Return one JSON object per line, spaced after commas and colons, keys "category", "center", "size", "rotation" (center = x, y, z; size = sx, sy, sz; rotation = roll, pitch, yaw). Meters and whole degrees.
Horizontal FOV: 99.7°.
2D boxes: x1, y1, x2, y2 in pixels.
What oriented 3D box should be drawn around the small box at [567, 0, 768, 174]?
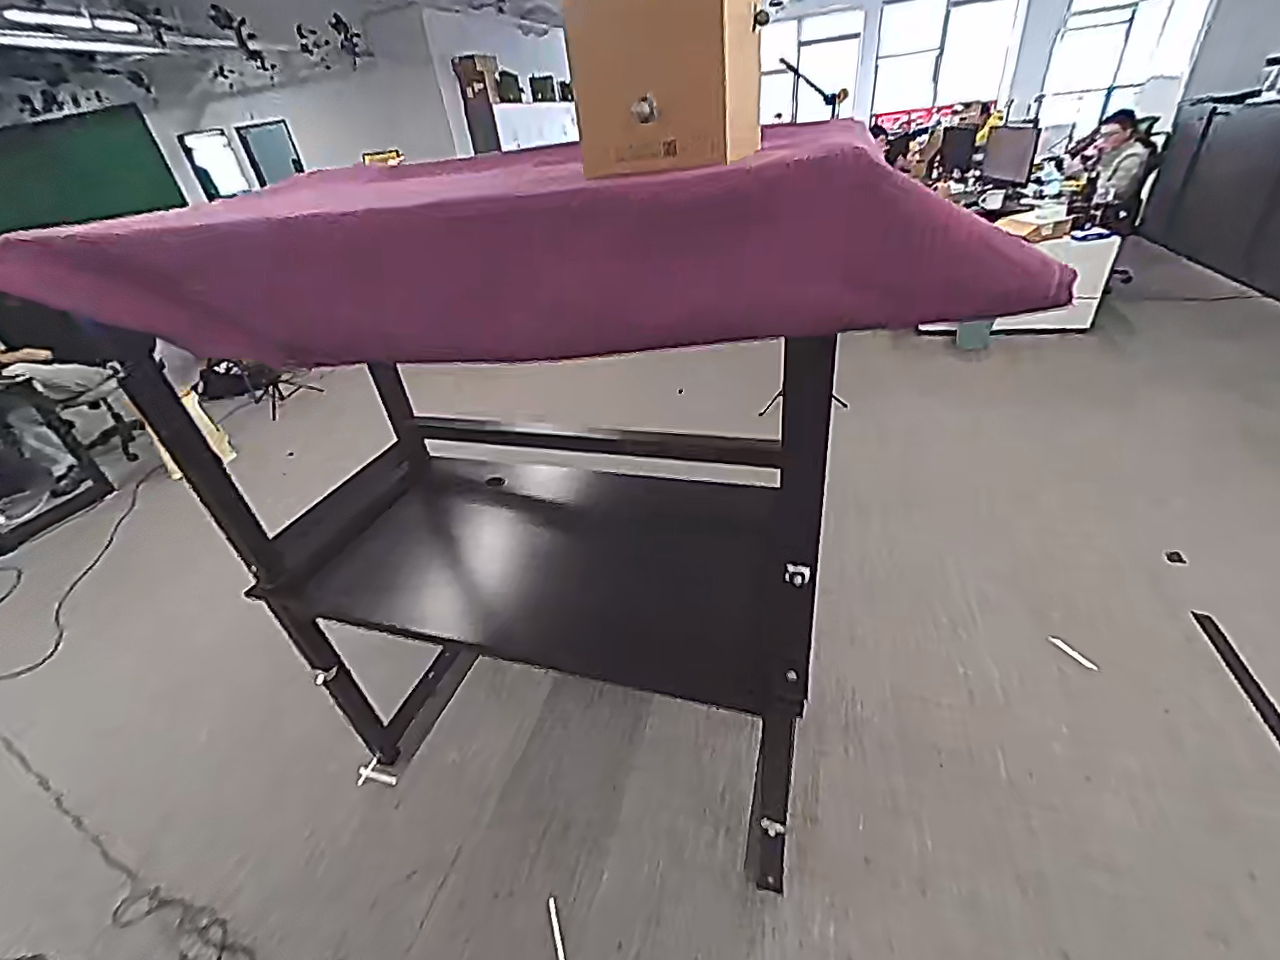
{"category": "small box", "center": [0.039, -0.438, 0.587], "size": [0.168, 0.176, 0.179], "rotation": [7, 35, 22]}
